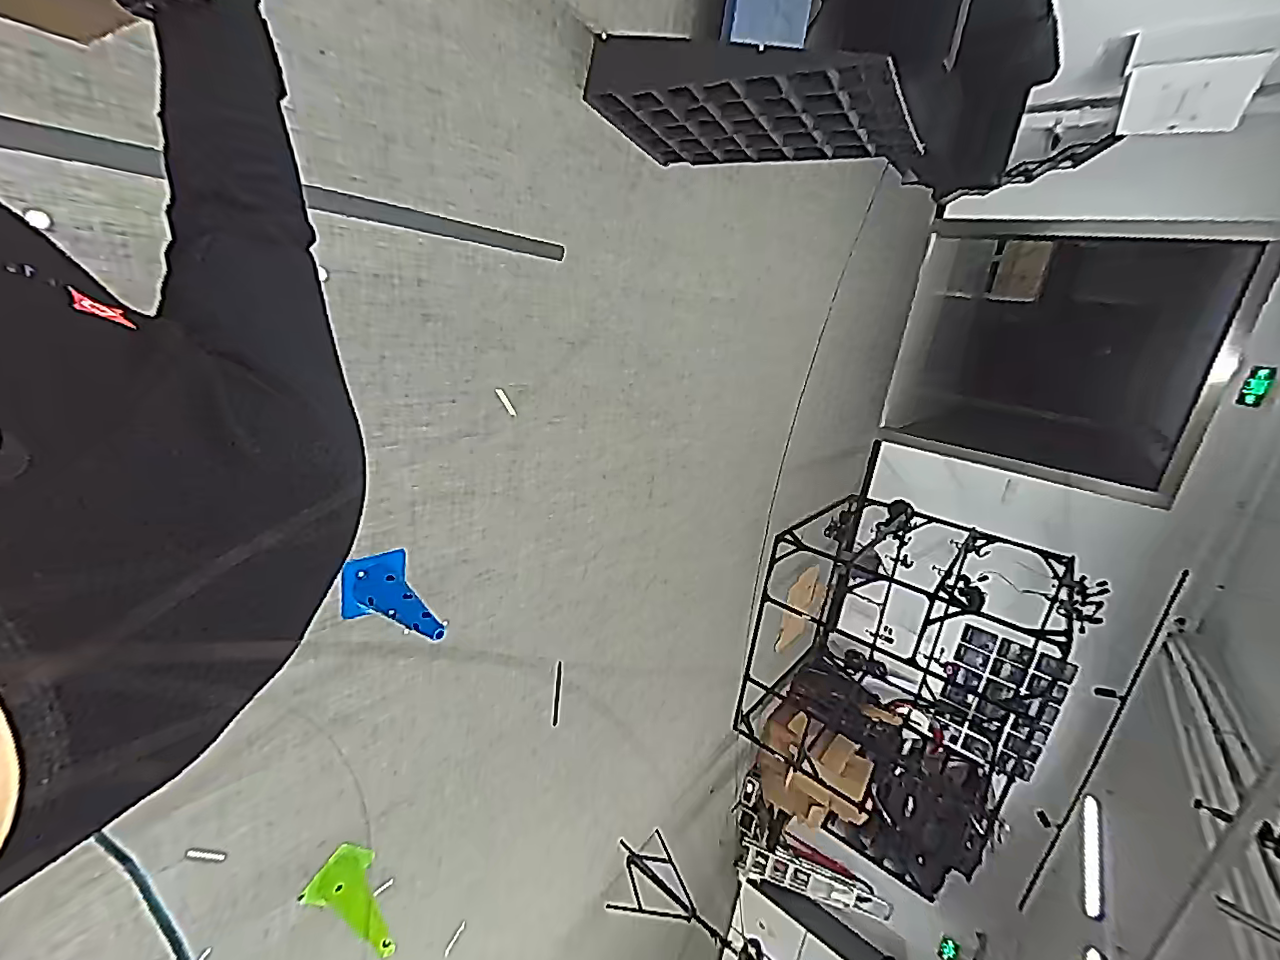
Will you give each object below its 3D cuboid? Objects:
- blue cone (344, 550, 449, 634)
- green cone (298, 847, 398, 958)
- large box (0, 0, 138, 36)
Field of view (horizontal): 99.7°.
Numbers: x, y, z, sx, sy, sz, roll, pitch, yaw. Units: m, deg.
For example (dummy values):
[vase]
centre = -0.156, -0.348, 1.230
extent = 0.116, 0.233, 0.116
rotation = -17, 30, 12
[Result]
[blue cone]
centre = -0.703, 0.368, 1.610
extent = 0.192, 0.380, 0.193
rotation = -11, 115, -53
[green cone]
centre = -0.933, 1.457, 1.815
extent = 0.202, 0.368, 0.200
rotation = -52, 143, -27
[large box]
centre = -0.541, -0.494, 0.253
extent = 0.408, 0.320, 0.320
rotation = -12, 122, -50
